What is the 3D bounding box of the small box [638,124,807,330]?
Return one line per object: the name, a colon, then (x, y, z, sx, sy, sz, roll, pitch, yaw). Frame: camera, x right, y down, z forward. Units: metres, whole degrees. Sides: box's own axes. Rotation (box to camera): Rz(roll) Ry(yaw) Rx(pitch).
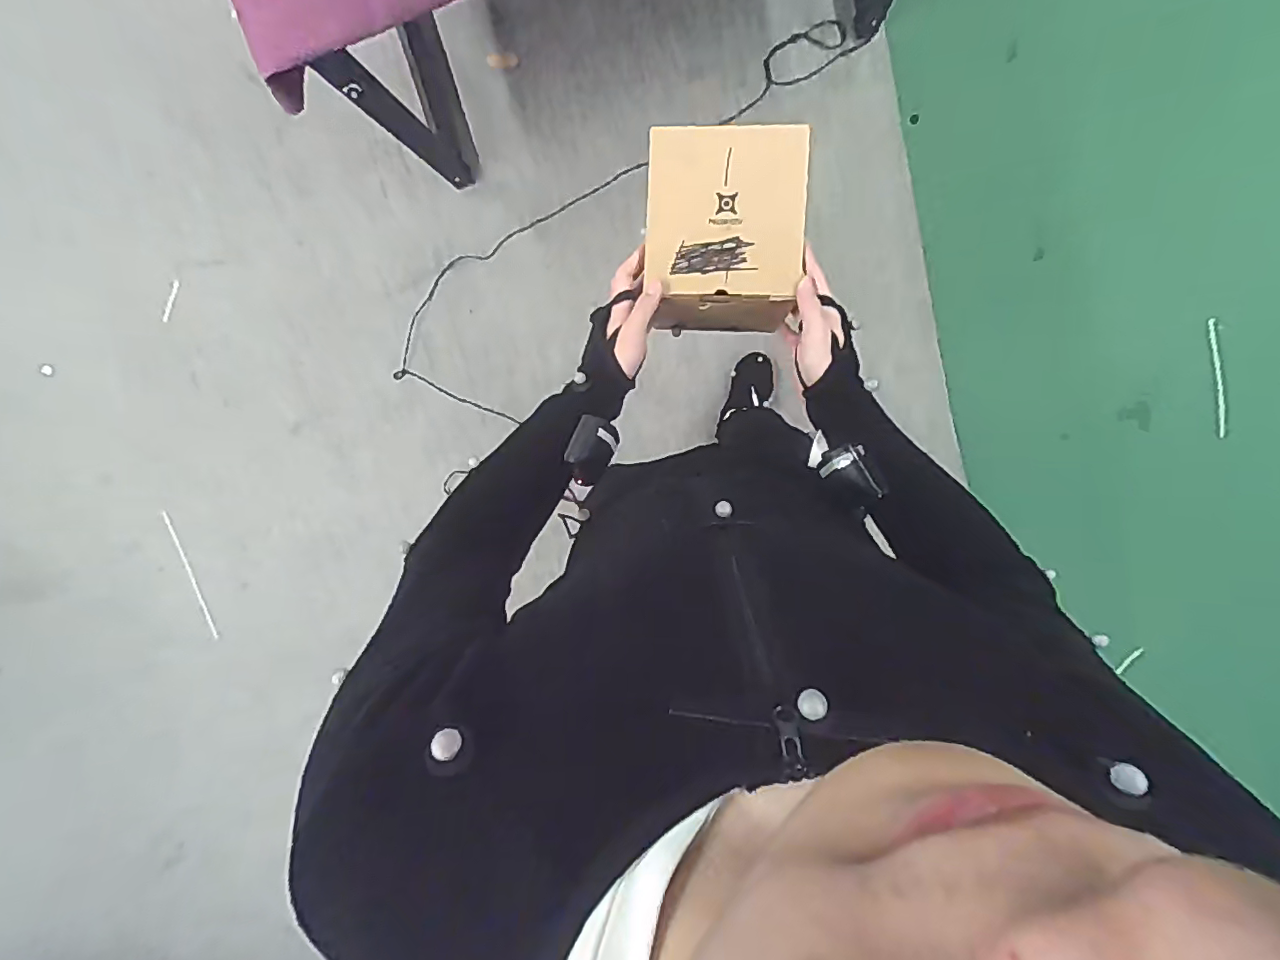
small box: (0.091, -0.280, 0.636, 0.168, 0.176, 0.179, 3, 92, 5)
